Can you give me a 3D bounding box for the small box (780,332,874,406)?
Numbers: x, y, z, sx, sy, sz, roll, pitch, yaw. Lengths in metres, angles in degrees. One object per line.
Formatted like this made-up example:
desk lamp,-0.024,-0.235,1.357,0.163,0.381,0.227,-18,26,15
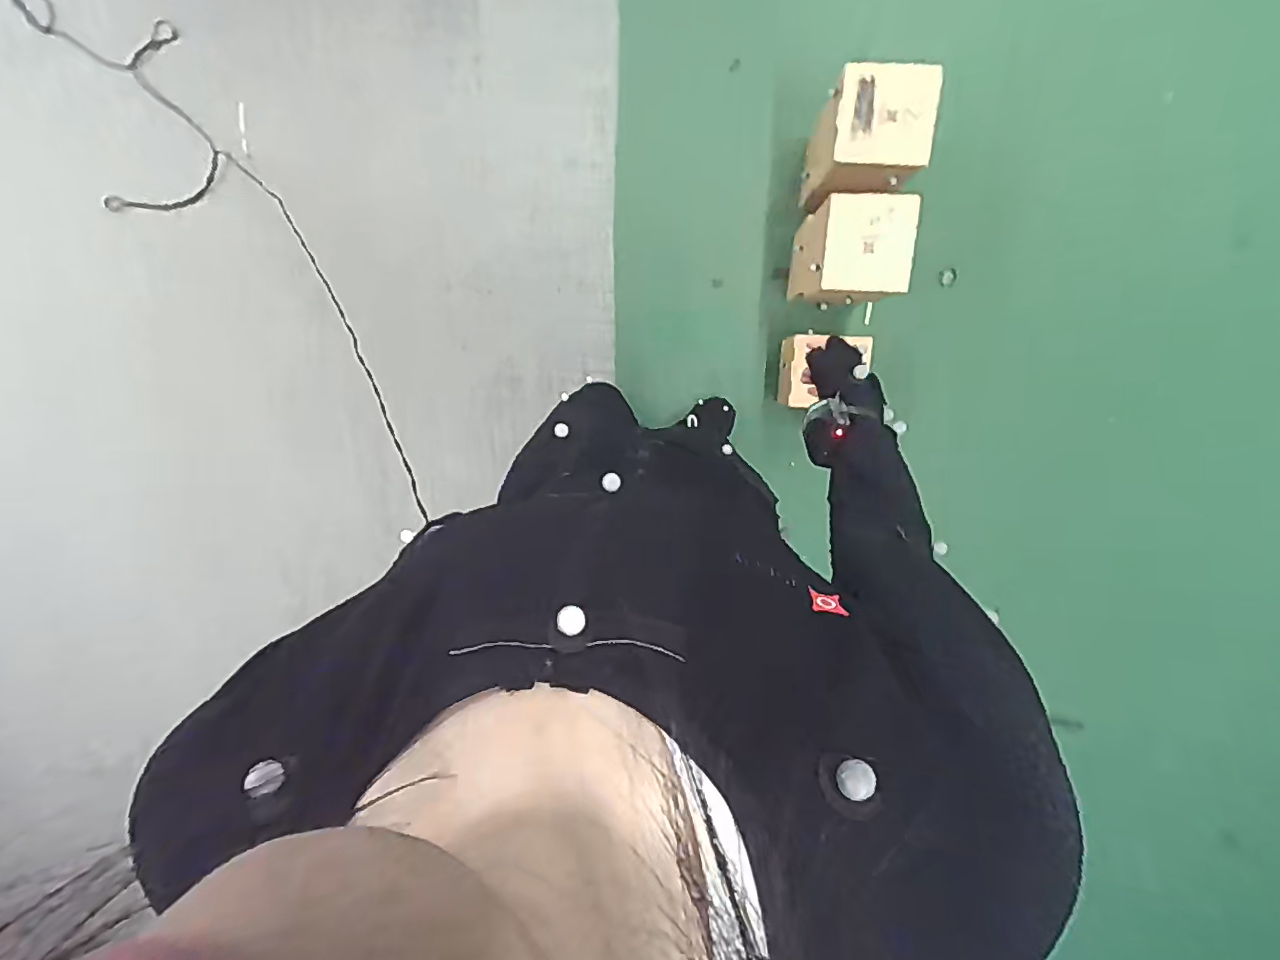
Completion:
small box,0.450,-0.273,1.324,0.179,0.176,0.168,3,102,6
